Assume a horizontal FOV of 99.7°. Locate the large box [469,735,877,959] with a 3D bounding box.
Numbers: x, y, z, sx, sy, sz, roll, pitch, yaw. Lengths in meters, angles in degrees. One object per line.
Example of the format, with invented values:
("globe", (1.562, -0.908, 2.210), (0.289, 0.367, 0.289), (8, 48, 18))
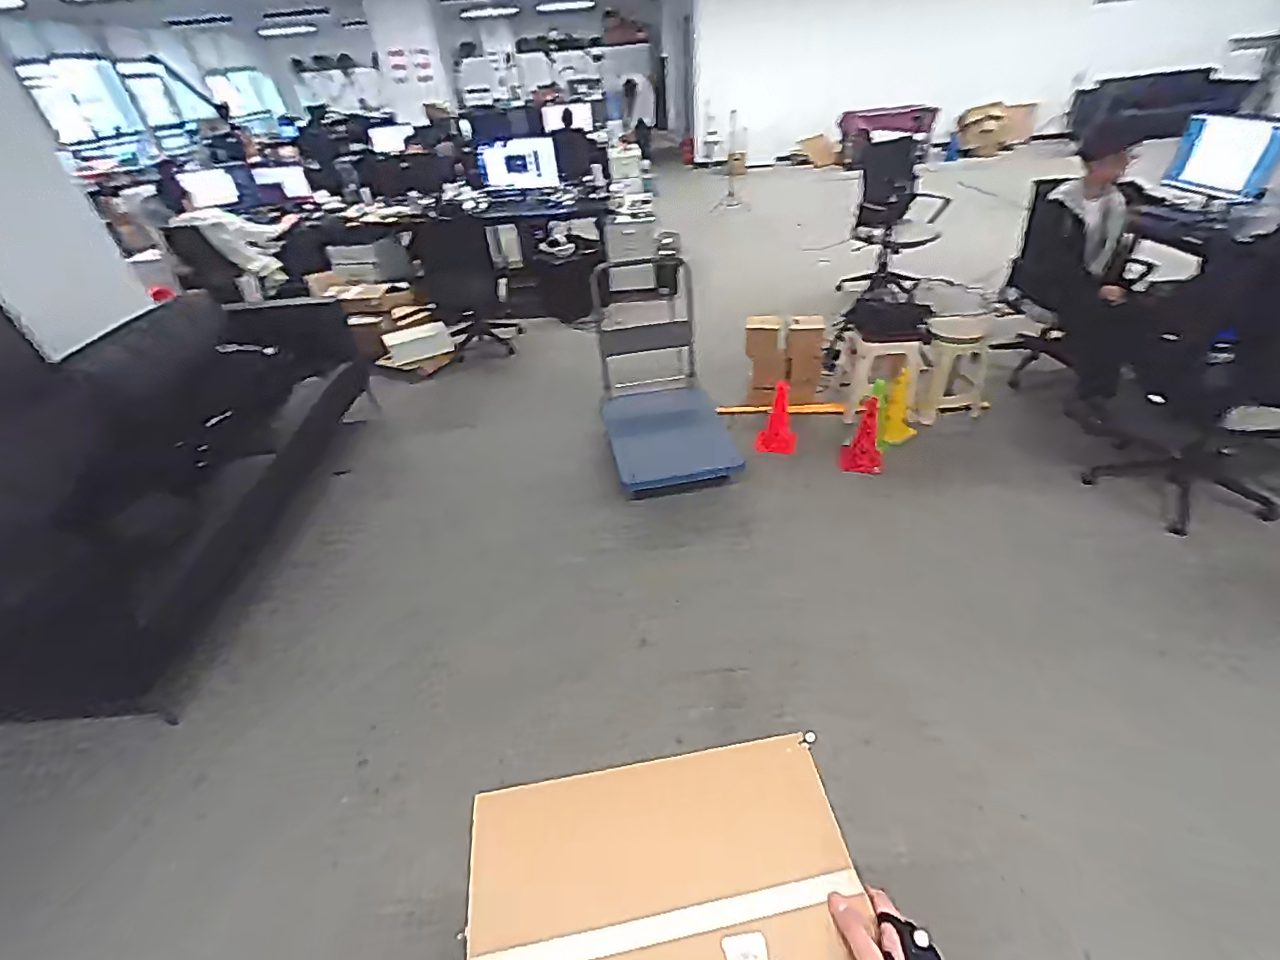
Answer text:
("large box", (0.026, 0.566, 0.655), (0.408, 0.320, 0.320), (-8, 44, -8))
